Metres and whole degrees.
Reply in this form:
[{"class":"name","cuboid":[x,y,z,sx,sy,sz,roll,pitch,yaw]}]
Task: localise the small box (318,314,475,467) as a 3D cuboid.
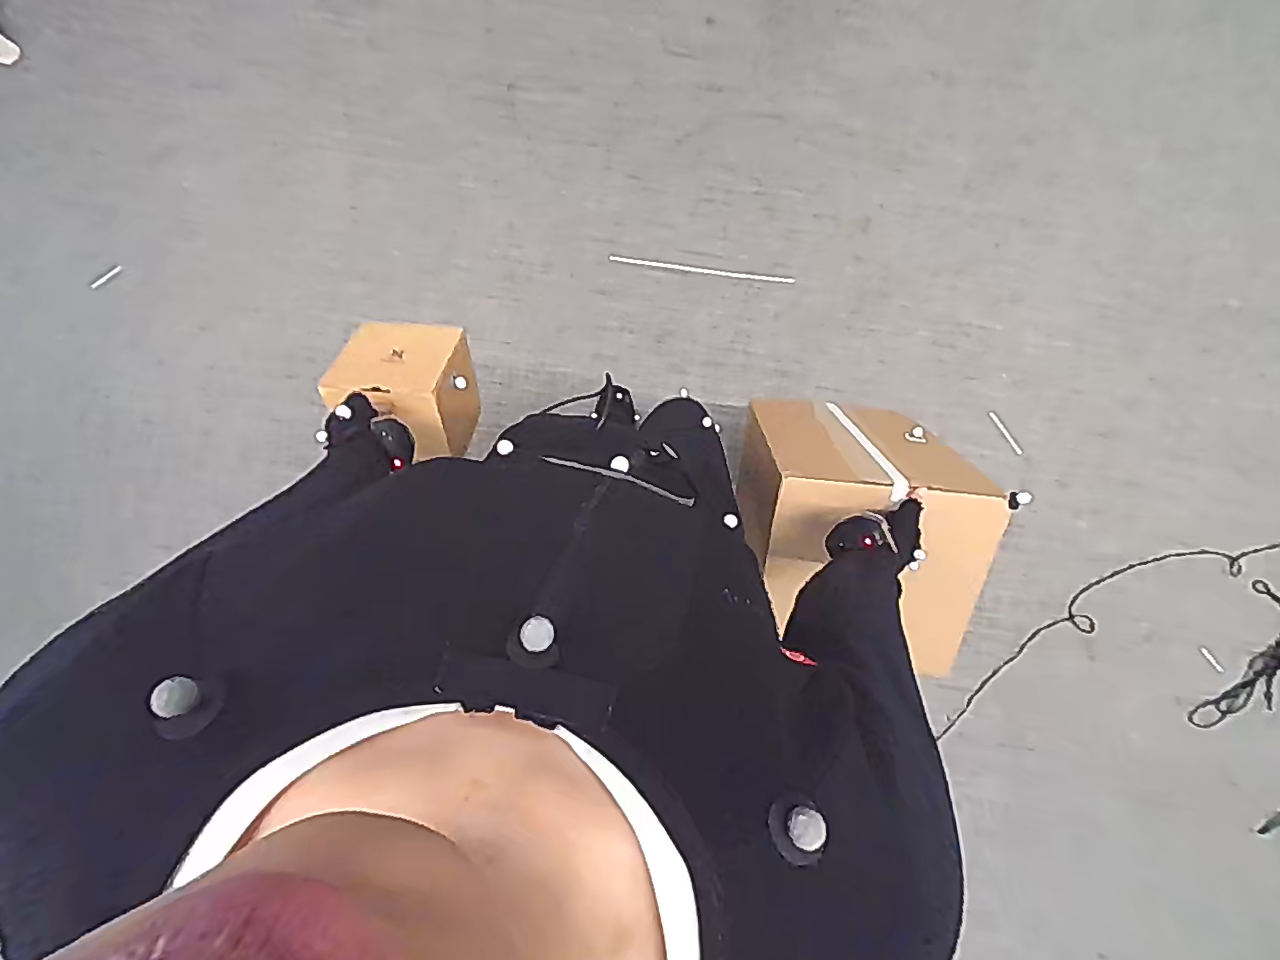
[{"class":"small box","cuboid":[-0.377,-0.145,0.879,0.168,0.179,0.176,3,138,-1]}]
